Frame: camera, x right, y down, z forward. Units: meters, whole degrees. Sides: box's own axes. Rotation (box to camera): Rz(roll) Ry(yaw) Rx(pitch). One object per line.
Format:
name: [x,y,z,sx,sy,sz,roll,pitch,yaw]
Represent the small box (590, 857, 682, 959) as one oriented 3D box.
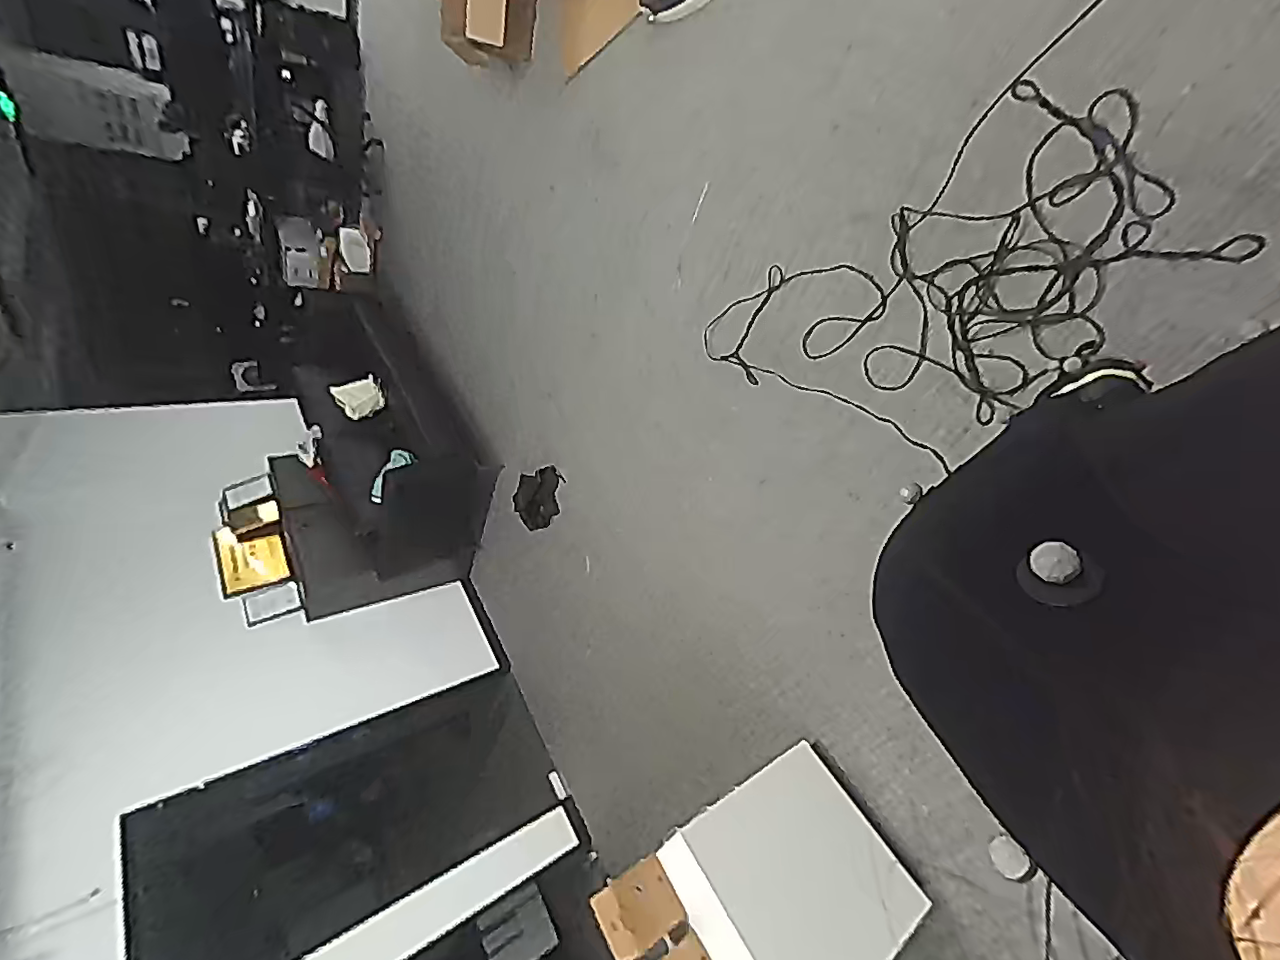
small box: [-0.008,1.182,1.486,0.168,0.176,0.179,54,136,30]
